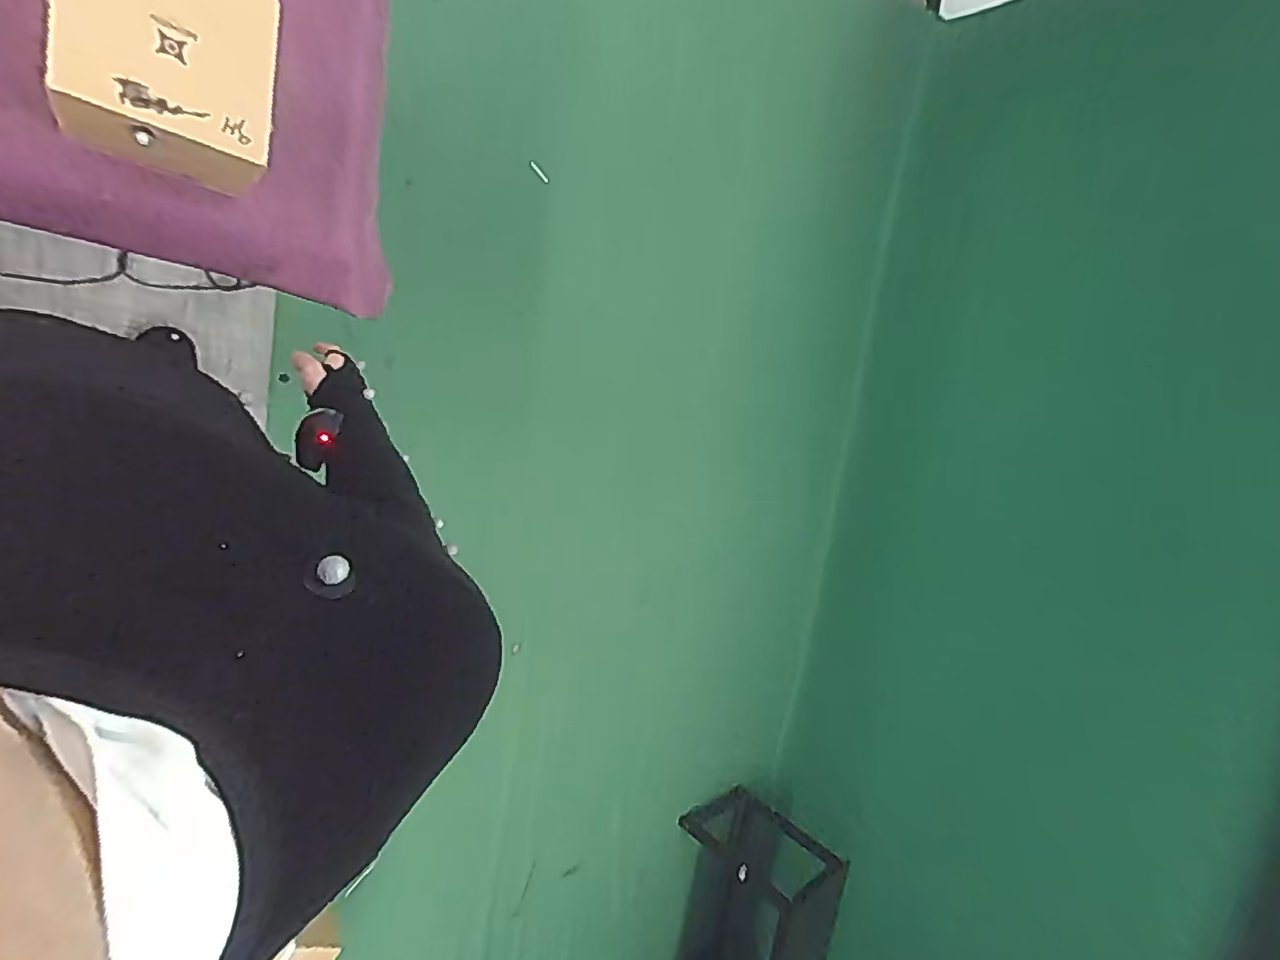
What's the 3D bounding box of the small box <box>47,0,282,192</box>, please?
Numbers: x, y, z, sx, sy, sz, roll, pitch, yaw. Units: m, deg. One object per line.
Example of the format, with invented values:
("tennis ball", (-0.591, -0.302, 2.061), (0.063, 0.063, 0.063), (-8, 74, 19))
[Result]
("small box", (-0.508, -0.446, 0.584), (0.168, 0.176, 0.179), (4, 97, -43))
